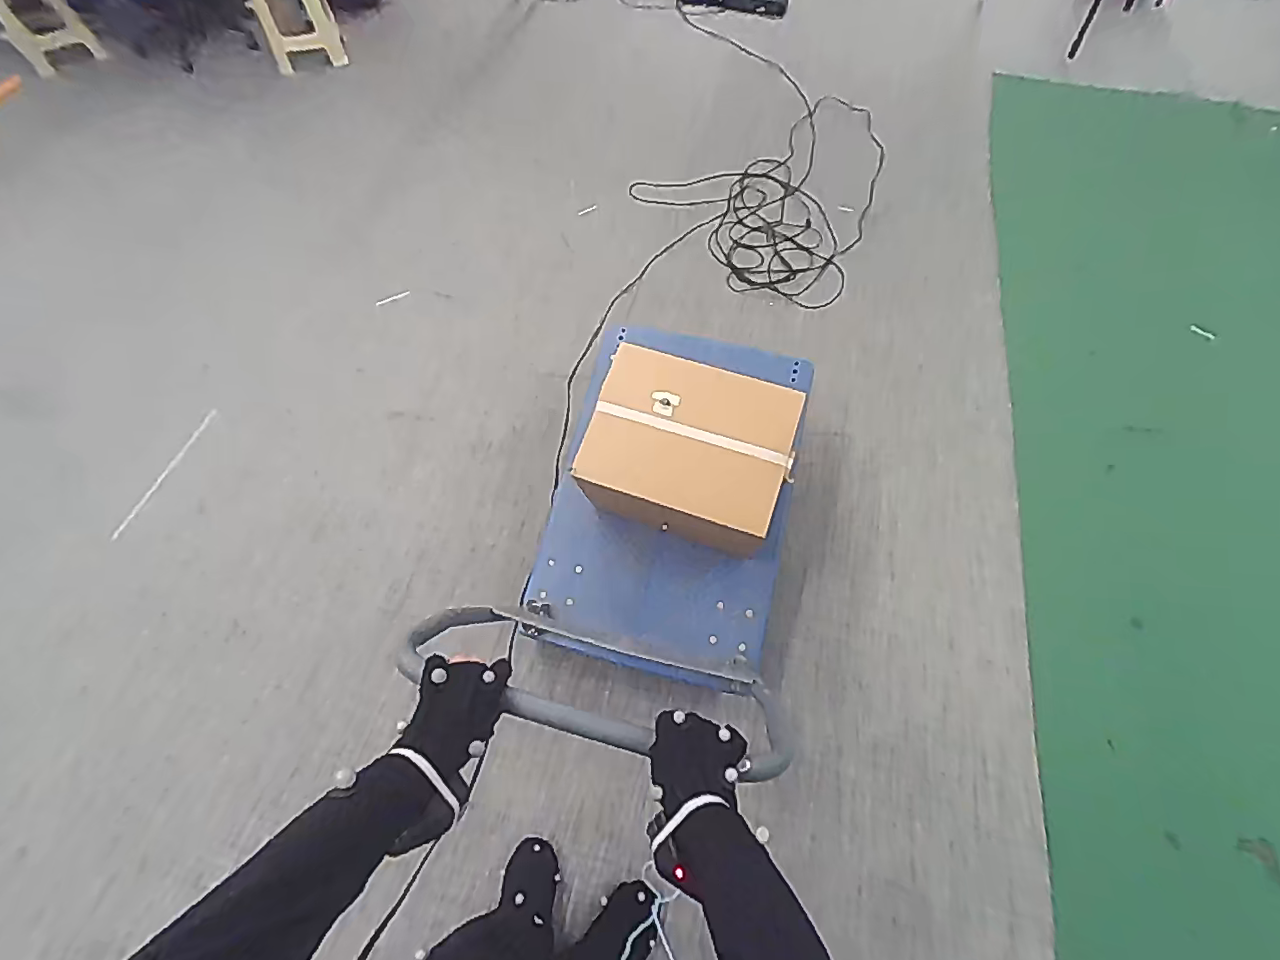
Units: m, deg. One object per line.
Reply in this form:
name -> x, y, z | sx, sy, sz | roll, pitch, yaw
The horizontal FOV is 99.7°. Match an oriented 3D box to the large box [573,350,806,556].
large box -> 0.116, -0.044, 1.226 | 0.408, 0.320, 0.320 | 18, 77, 10
